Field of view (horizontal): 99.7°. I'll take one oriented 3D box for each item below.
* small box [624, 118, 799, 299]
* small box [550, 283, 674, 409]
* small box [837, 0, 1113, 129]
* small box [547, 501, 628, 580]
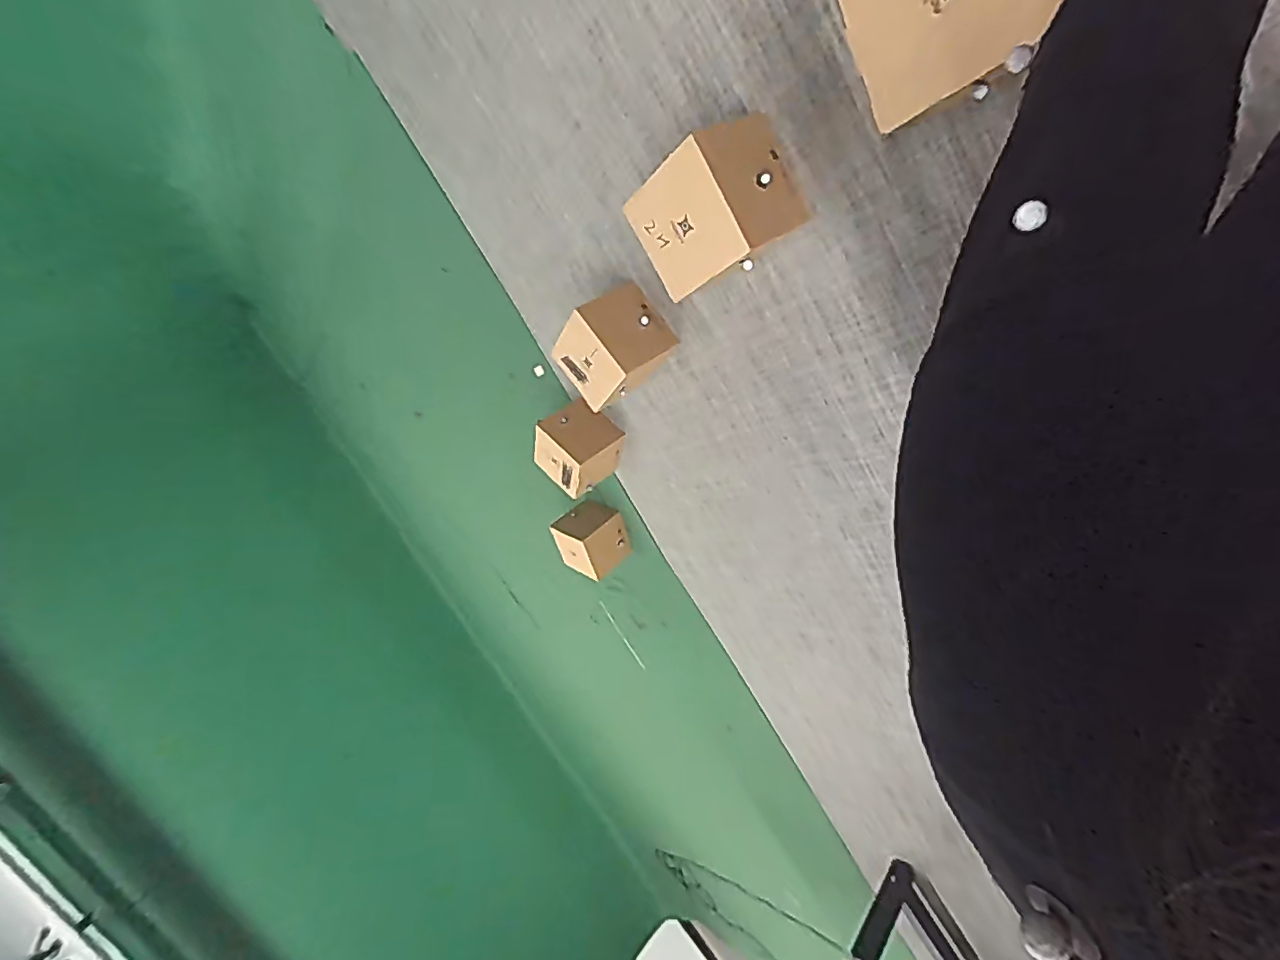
[{"bbox_3d":[0.115,-0.408,0.818,0.179,0.176,0.168,-14,109,55],"label":"small box"},{"bbox_3d":[-0.059,-0.285,1.155,0.168,0.176,0.179,53,147,-1],"label":"small box"},{"bbox_3d":[0.315,-0.471,0.508,0.179,0.176,0.168,-6,117,53],"label":"small box"},{"bbox_3d":[-0.166,0.187,1.750,0.179,0.176,0.168,17,134,43],"label":"small box"}]
